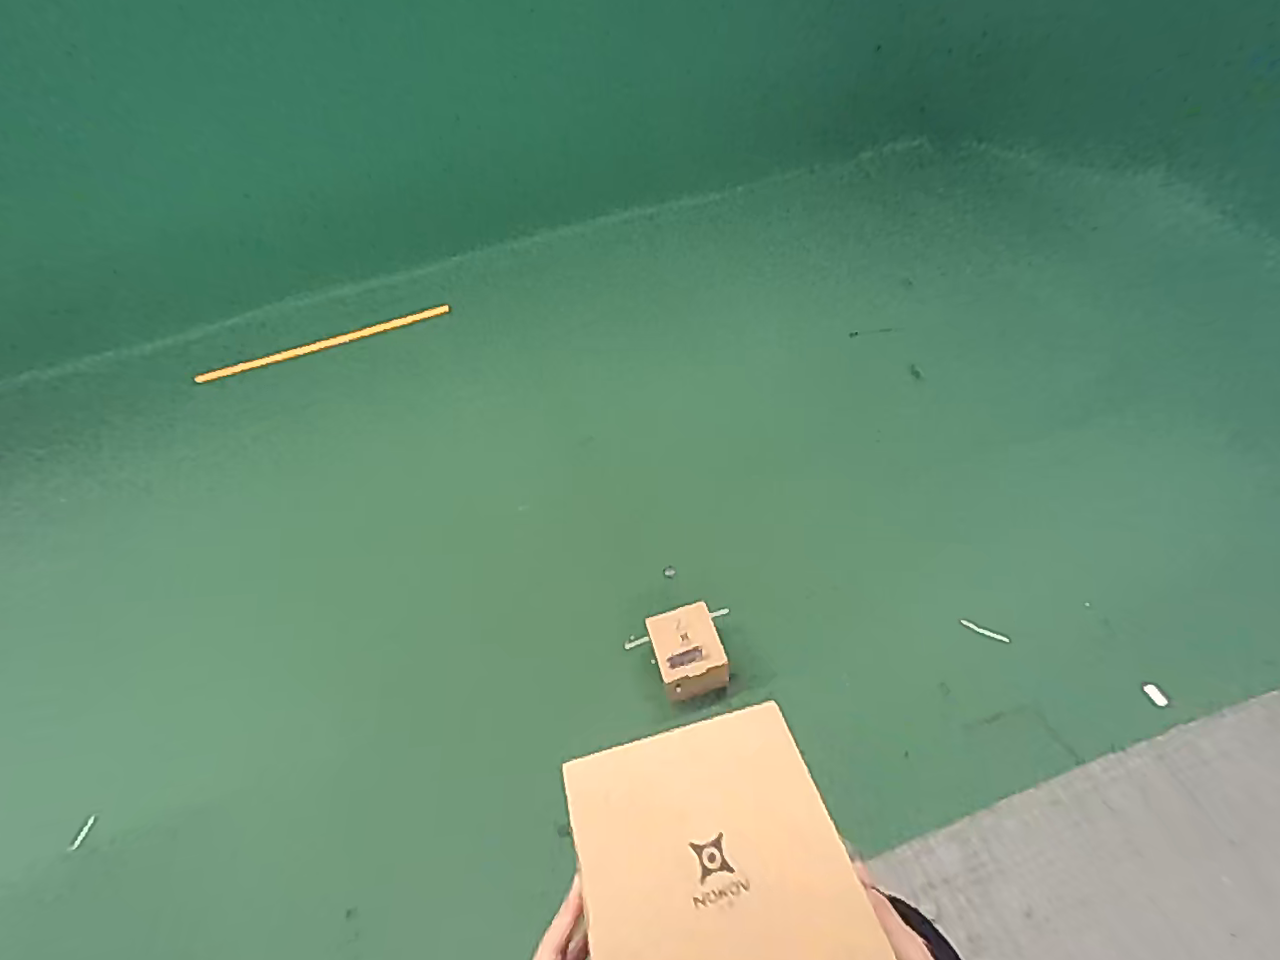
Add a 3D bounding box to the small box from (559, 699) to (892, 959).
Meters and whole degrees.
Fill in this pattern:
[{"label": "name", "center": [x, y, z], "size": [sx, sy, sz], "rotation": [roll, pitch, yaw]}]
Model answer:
[{"label": "small box", "center": [0.044, 0.294, 0.383], "size": [0.168, 0.176, 0.179], "rotation": [-12, 41, -9]}]
